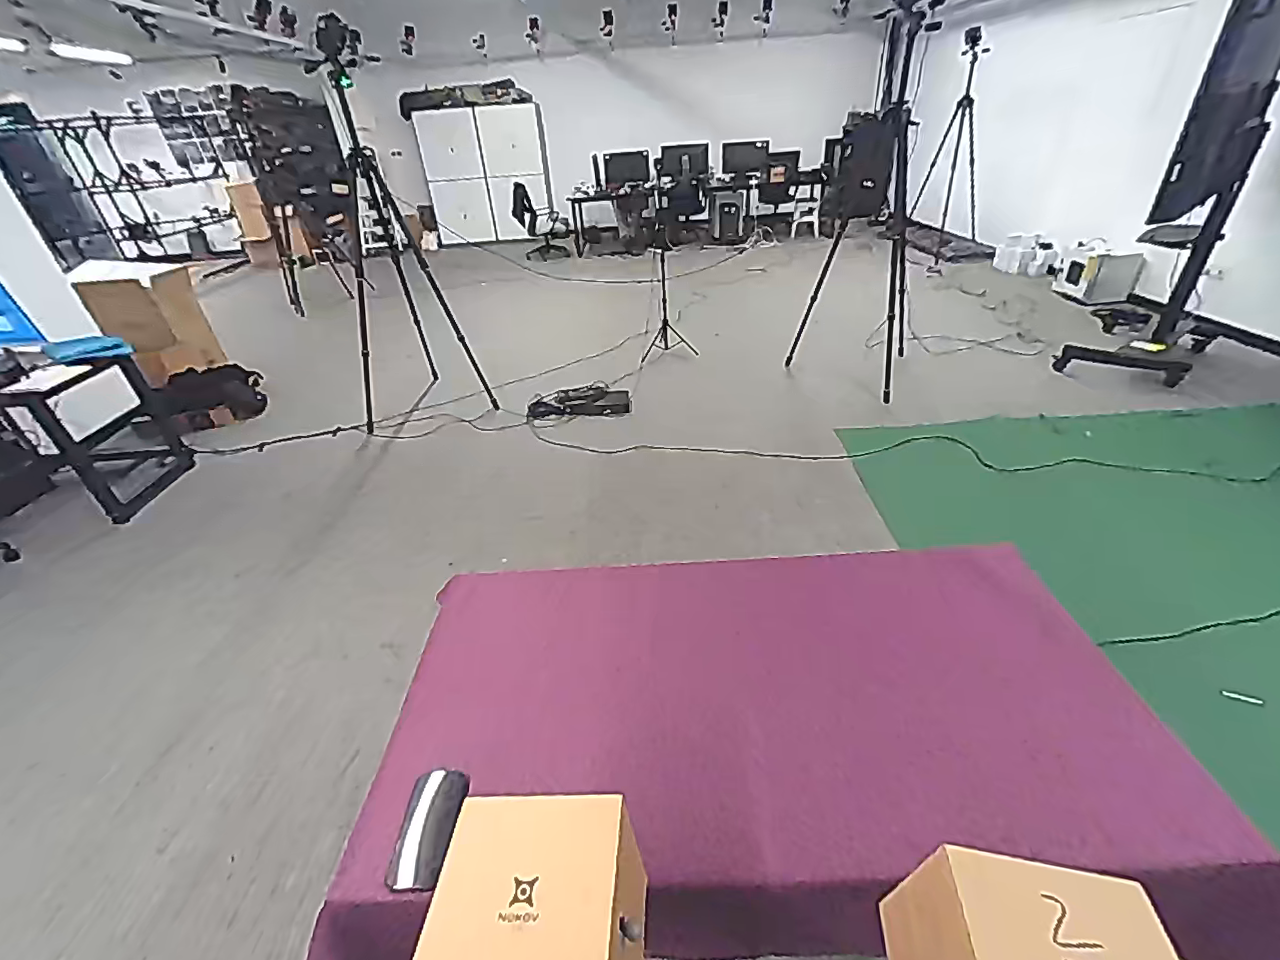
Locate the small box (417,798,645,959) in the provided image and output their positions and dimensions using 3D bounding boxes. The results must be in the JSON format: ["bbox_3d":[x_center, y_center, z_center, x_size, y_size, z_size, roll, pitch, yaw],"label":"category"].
[{"bbox_3d":[-0.089,0.431,0.508,0.168,0.176,0.179,-5,32,7],"label":"small box"}]
